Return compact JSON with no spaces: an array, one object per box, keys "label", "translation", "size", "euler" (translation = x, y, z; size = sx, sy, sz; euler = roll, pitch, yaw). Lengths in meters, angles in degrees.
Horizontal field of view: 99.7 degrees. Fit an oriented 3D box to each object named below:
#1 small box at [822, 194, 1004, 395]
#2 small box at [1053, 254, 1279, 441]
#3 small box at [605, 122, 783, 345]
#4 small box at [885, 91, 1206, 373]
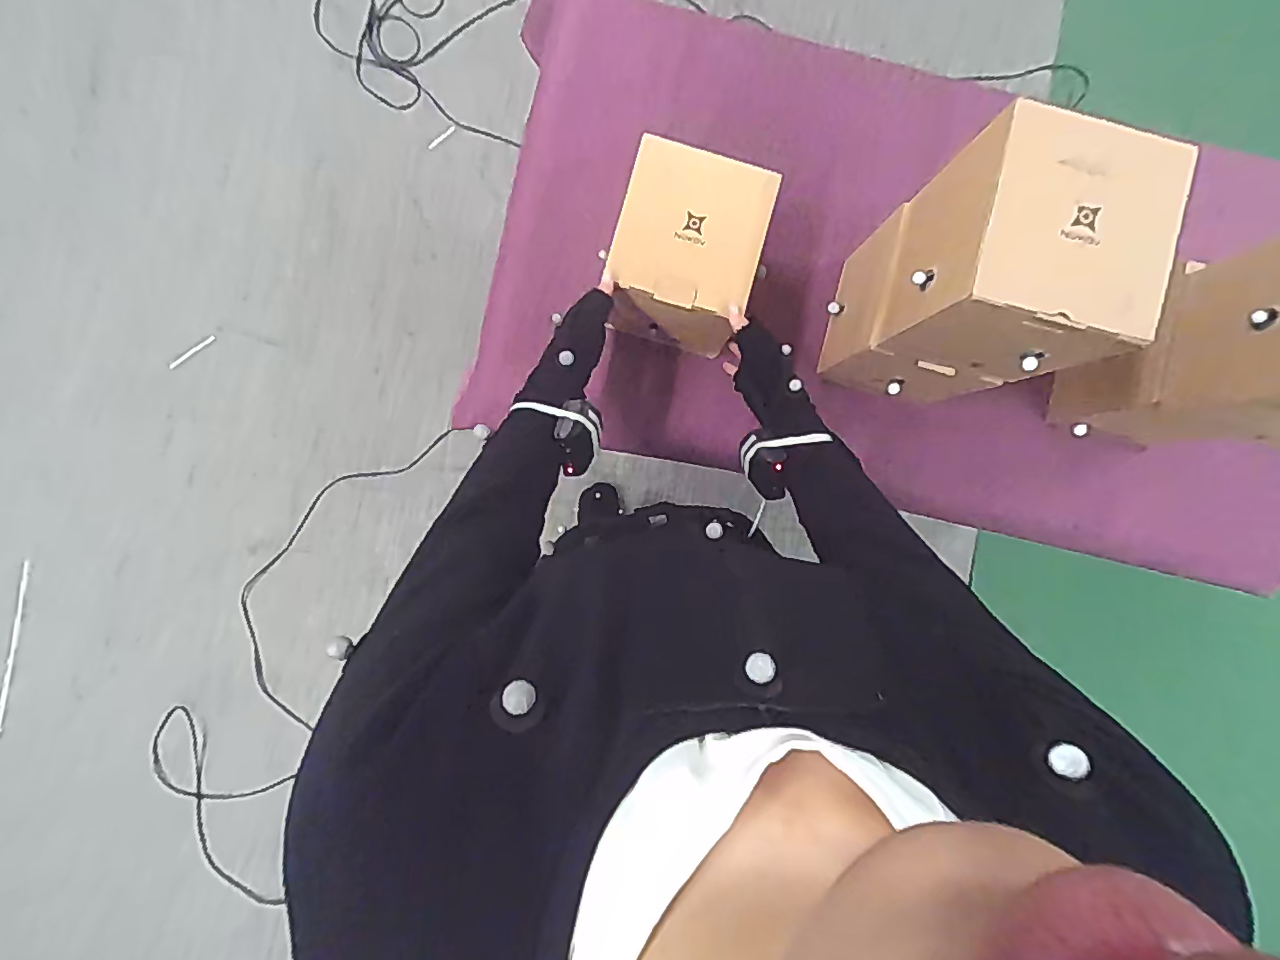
[{"label":"small box","translation":[0.351,-0.217,0.687],"size":[0.168,0.176,0.179],"euler":[15,90,-3]},{"label":"small box","translation":[0.688,-0.155,0.699],"size":[0.168,0.176,0.179],"euler":[16,90,-4]},{"label":"small box","translation":[0.055,-0.289,0.675],"size":[0.168,0.176,0.179],"euler":[15,91,-3]},{"label":"small box","translation":[0.365,-0.216,0.524],"size":[0.168,0.176,0.179],"euler":[14,90,-3]}]
